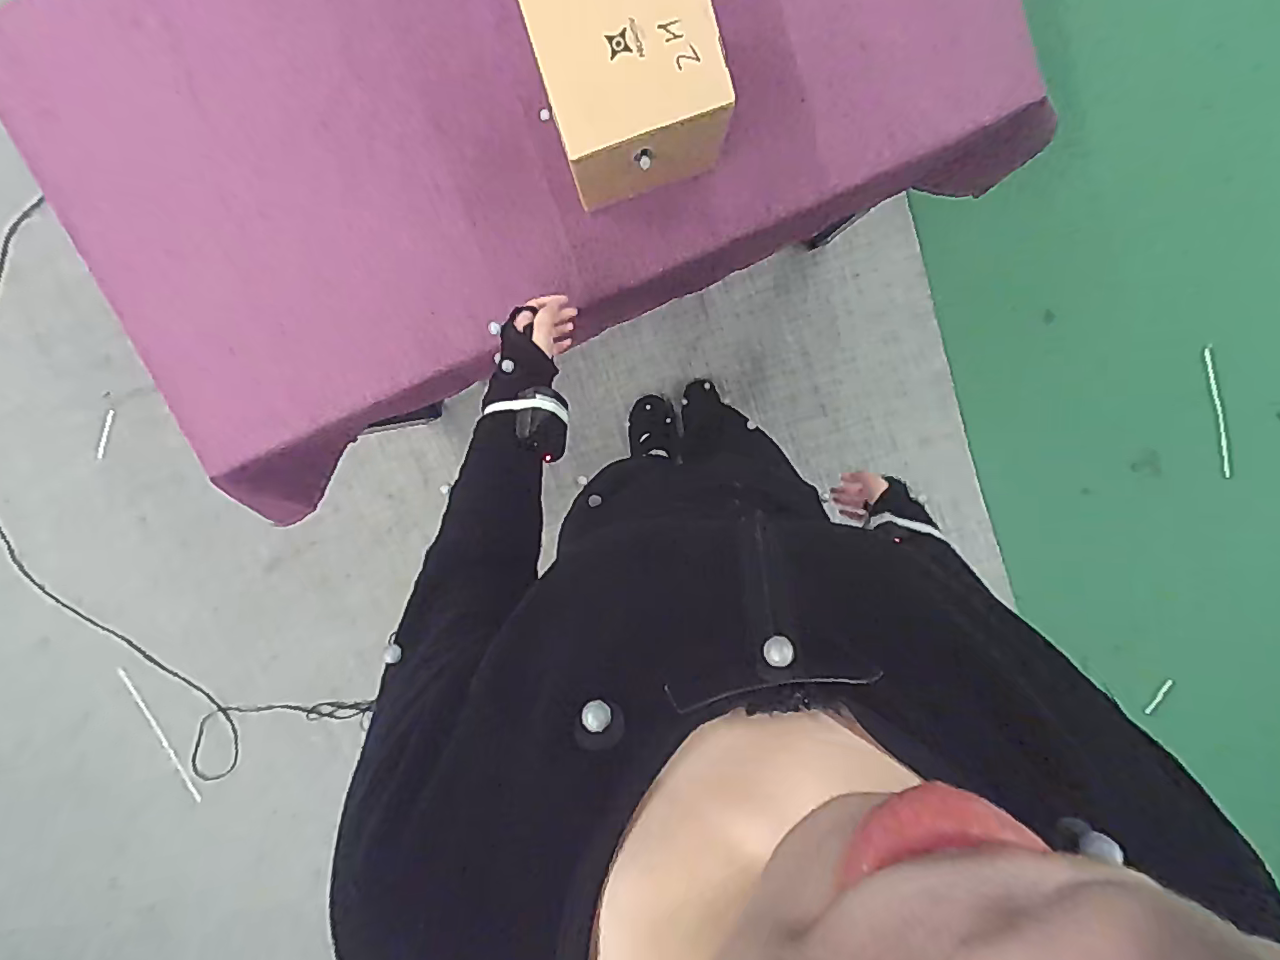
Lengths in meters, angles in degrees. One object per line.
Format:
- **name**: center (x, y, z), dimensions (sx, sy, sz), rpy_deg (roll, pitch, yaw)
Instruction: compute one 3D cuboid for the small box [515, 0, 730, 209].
- **small box**: center (-0.013, -0.430, 0.603), dimensions (0.179, 0.176, 0.168), rpy_deg (-17, 99, 4)
